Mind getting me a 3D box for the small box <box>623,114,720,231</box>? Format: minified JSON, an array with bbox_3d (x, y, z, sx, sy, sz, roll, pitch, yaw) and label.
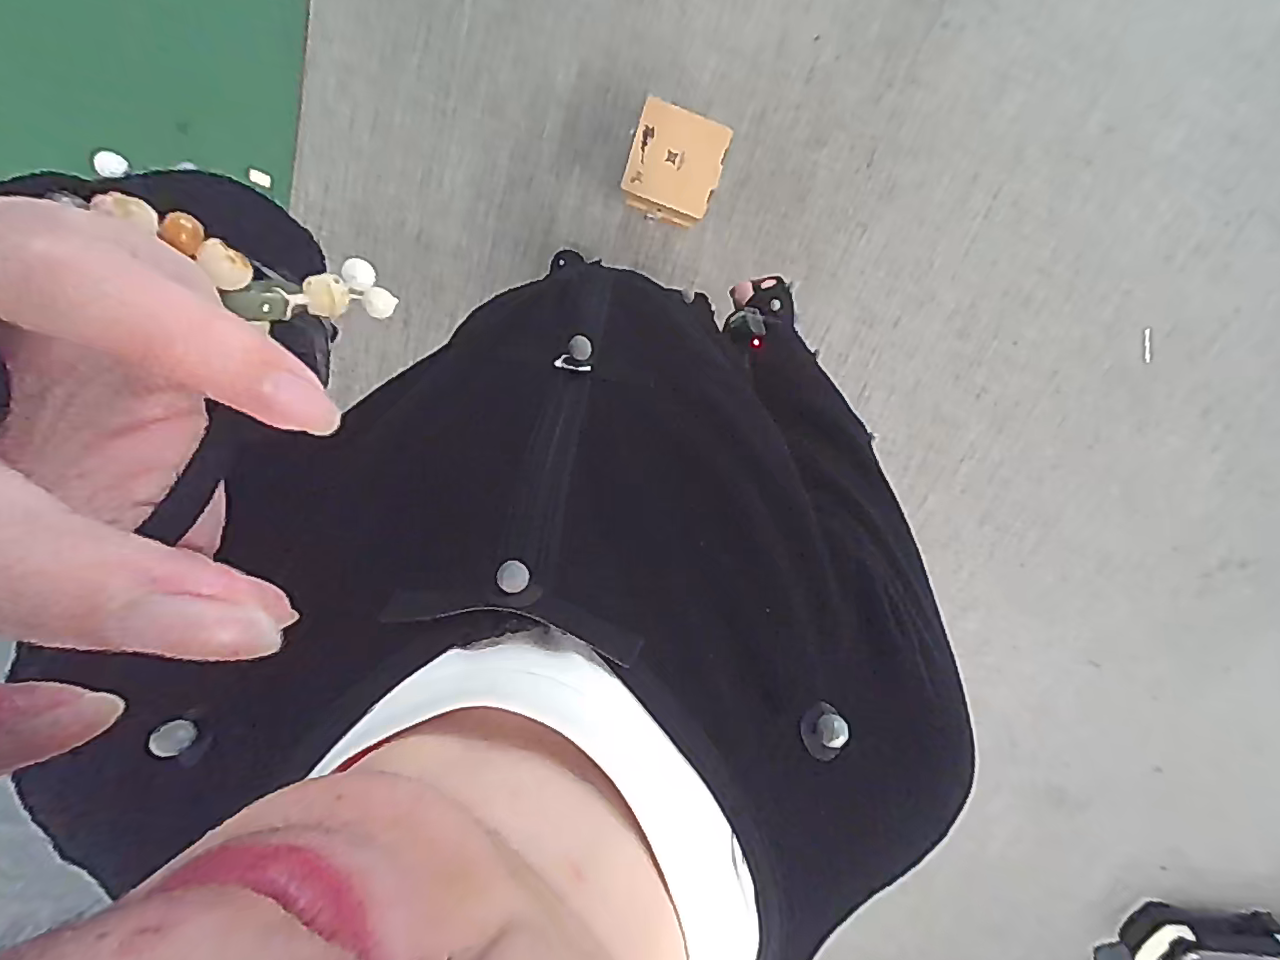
[{"bbox_3d":[0.067,-0.700,1.252,0.168,0.176,0.179,20,111,-7],"label":"small box"}]
